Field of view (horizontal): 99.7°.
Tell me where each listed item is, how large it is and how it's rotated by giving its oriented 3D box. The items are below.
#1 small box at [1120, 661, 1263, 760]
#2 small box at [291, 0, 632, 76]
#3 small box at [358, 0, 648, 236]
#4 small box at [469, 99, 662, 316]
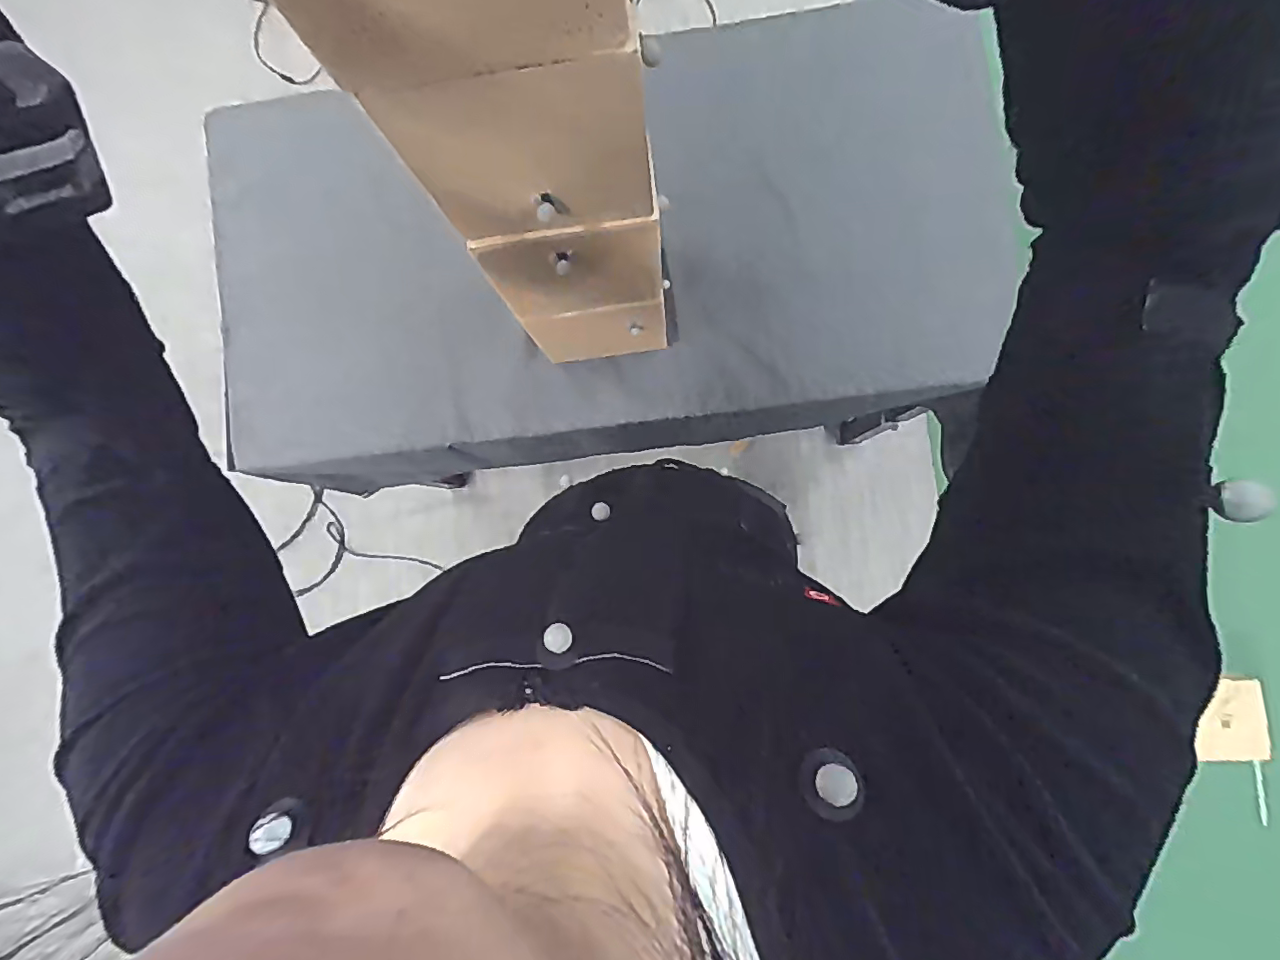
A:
[{"bbox_3d":[1.300,0.542,1.288,0.168,0.176,0.179,-3,84,3],"label":"small box"},{"bbox_3d":[-0.104,-0.328,0.246,0.179,0.176,0.168,-7,85,3],"label":"small box"},{"bbox_3d":[-0.086,-0.311,0.409,0.179,0.176,0.168,-5,84,3],"label":"small box"},{"bbox_3d":[-0.072,-0.290,0.571,0.179,0.176,0.168,-8,84,4],"label":"small box"}]
